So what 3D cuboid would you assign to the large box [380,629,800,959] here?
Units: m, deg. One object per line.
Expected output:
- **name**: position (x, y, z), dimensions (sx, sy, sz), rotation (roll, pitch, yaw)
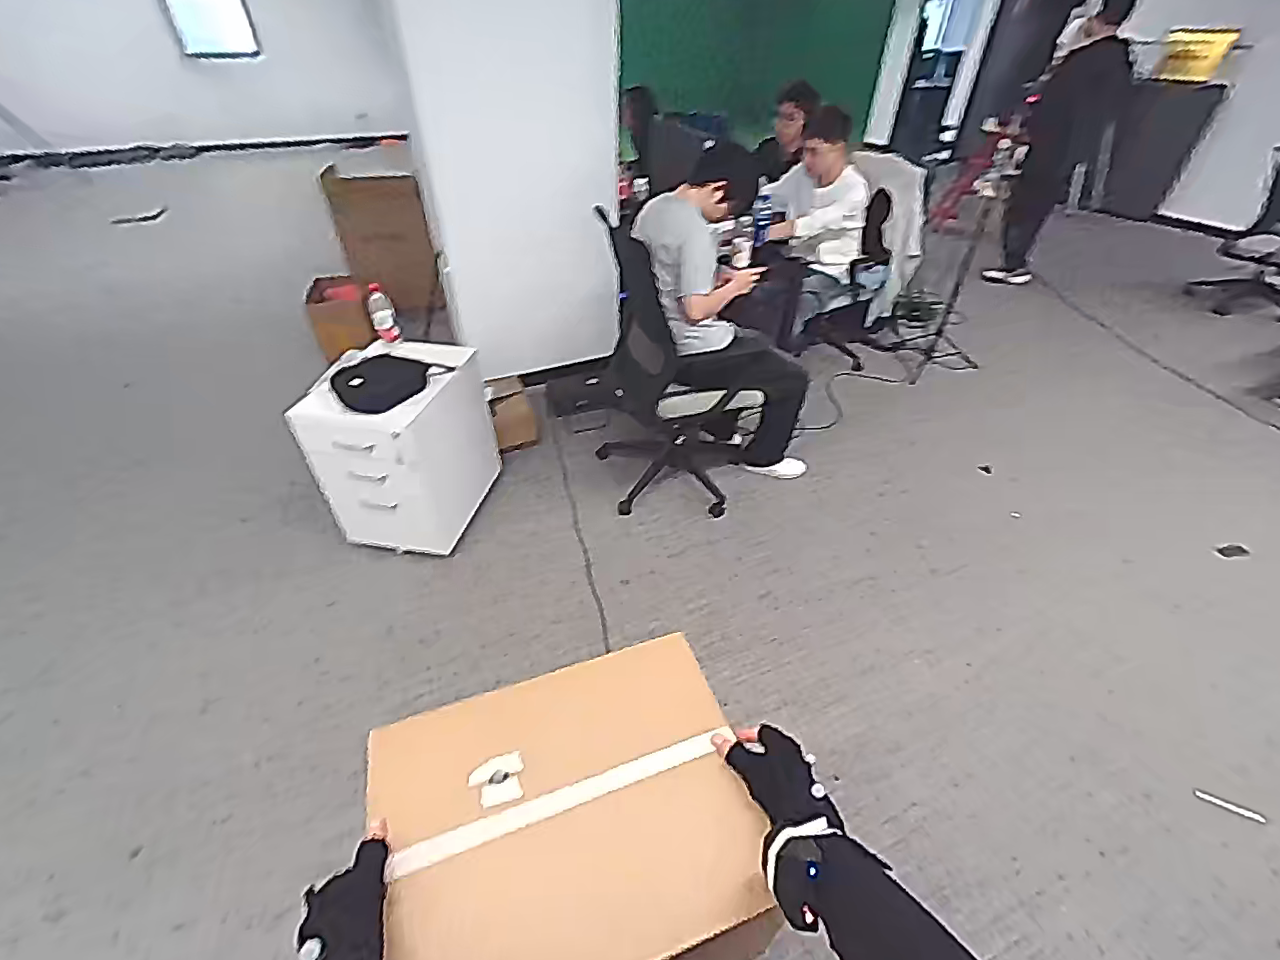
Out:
- **large box**: position (-0.071, 0.457, 0.690), dimensions (0.408, 0.320, 0.320), rotation (-14, 41, -14)
